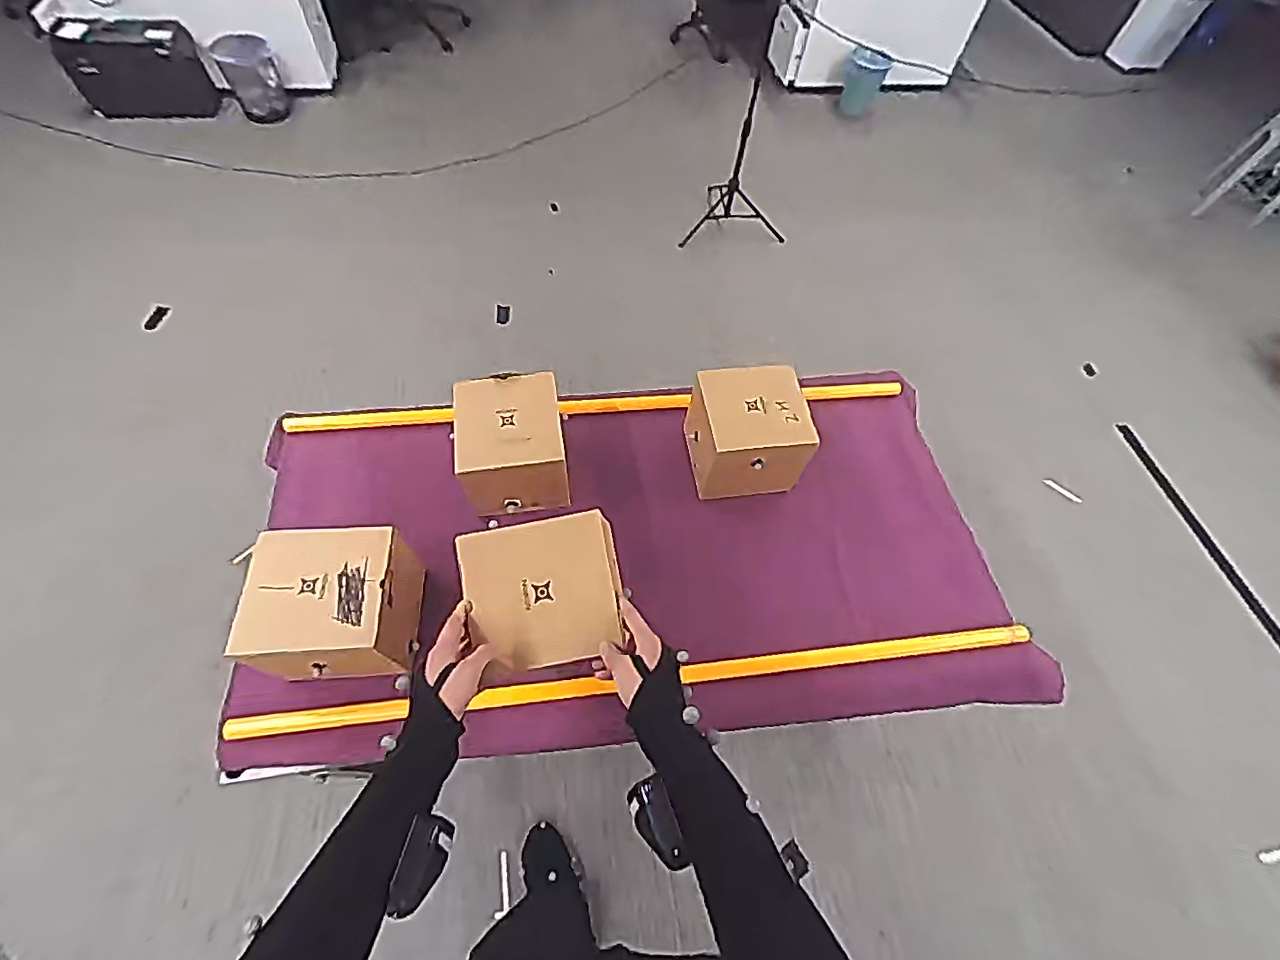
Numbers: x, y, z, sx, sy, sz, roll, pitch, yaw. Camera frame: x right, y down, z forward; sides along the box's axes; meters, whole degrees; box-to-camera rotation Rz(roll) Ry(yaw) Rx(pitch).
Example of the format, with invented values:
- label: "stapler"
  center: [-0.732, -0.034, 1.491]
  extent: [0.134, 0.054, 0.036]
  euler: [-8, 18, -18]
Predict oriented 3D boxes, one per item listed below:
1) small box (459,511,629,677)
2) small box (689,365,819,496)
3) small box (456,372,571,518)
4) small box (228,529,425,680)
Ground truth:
- label: "small box"
  center: [-0.112, 0.141, 0.700]
  extent: [0.179, 0.176, 0.168]
  euler: [-11, 80, 0]
- label: "small box"
  center: [0.188, -0.082, 0.961]
  extent: [0.179, 0.176, 0.168]
  euler: [-5, 62, -8]
- label: "small box"
  center: [-0.210, -0.056, 0.915]
  extent: [0.168, 0.176, 0.179]
  euler: [-8, 62, -8]
- label: "small box"
  center: [-0.417, 0.178, 0.759]
  extent: [0.179, 0.176, 0.168]
  euler: [-2, 60, -6]
